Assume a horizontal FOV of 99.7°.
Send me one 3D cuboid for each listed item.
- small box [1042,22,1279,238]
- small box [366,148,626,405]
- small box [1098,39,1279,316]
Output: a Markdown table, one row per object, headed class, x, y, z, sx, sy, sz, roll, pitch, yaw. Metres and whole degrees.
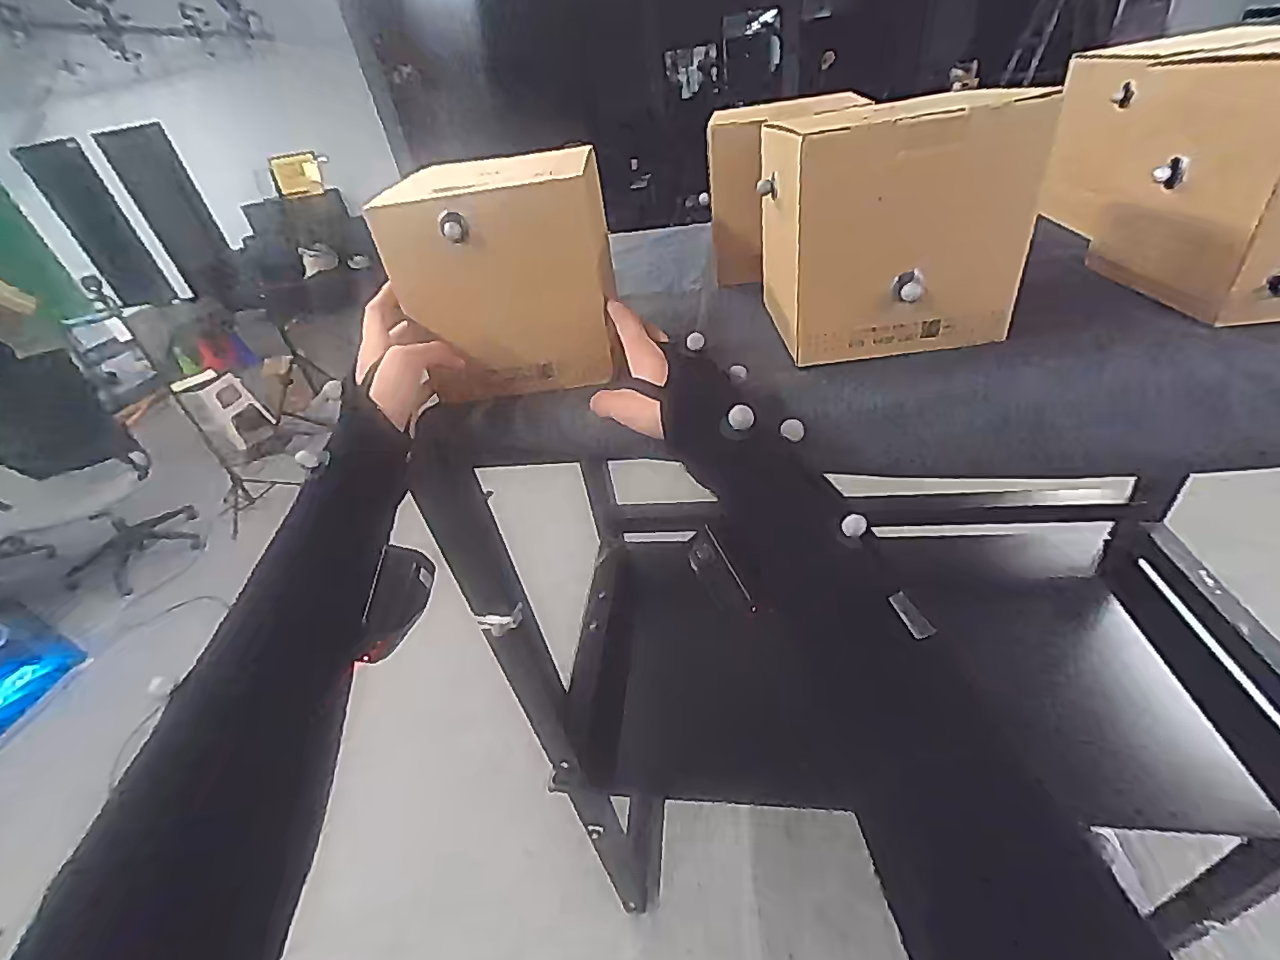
| class | x | y | z | sx | sy | sz | roll | pitch | yaw |
| --- | --- | --- | --- | --- | --- | --- | --- | --- | --- |
| small box | 0.576 | -0.369 | 0.578 | 0.168 | 0.176 | 0.179 | -3 | 38 | 10 |
| small box | -0.108 | -0.188 | 0.495 | 0.168 | 0.176 | 0.179 | -7 | 37 | 5 |
| small box | 0.506 | -0.231 | 0.409 | 0.168 | 0.176 | 0.179 | -4 | 35 | 9 |
